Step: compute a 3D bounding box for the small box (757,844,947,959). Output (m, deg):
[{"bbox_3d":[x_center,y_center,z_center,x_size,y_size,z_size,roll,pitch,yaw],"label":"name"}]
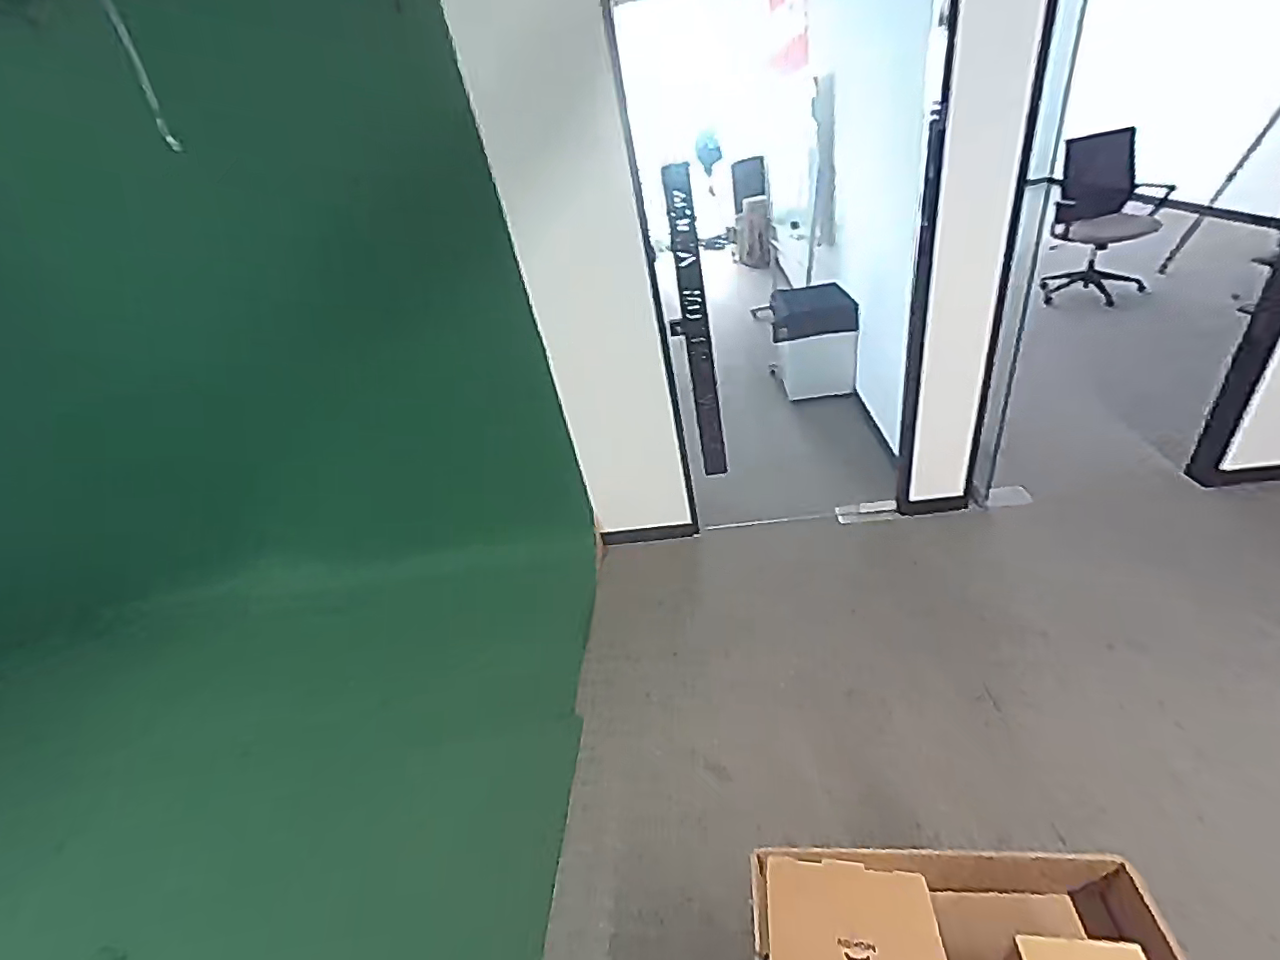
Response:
[{"bbox_3d":[0.208,0.516,0.549,0.168,0.176,0.179,1,30,10],"label":"small box"}]
